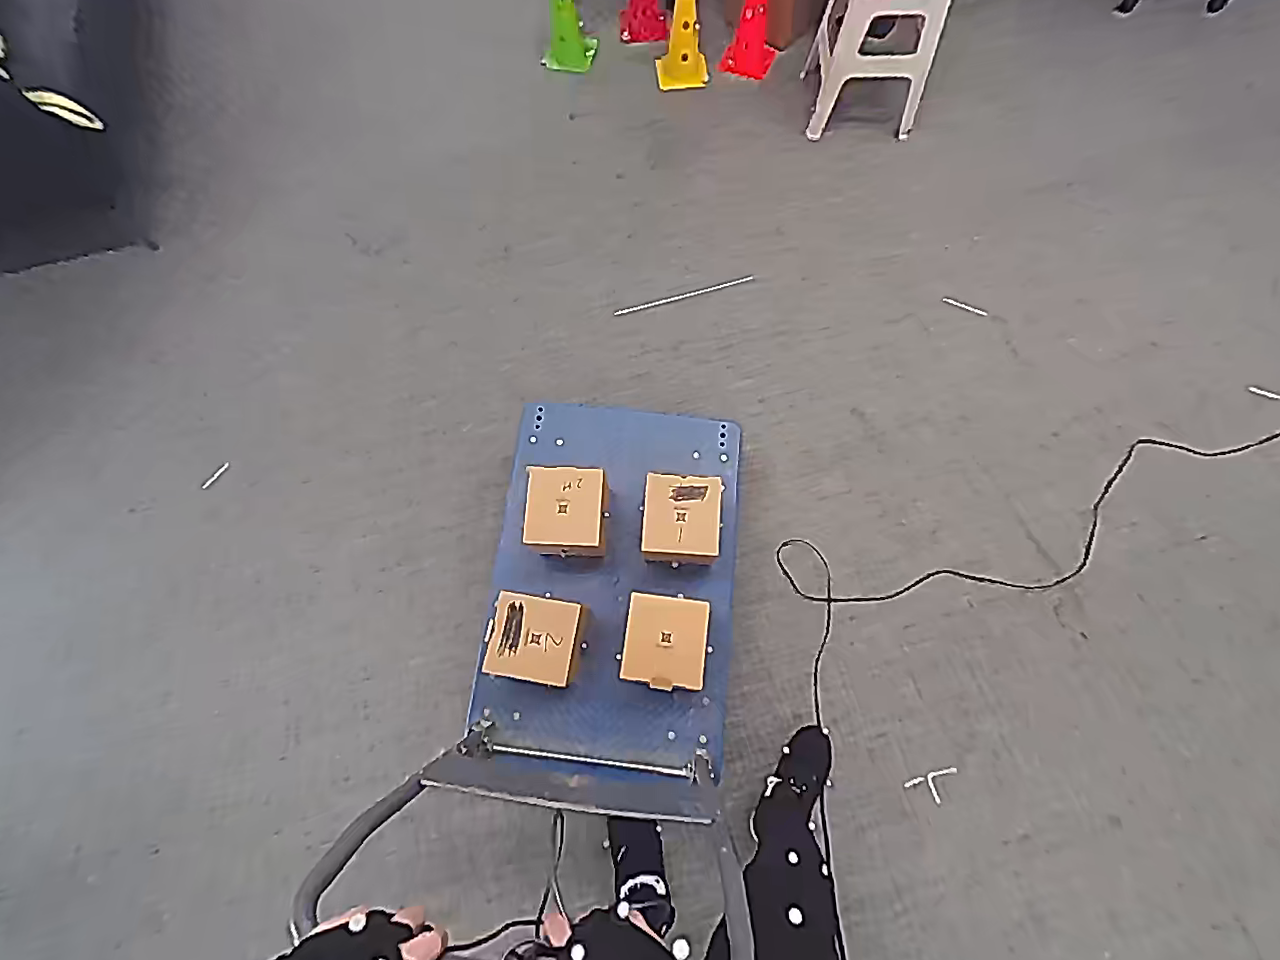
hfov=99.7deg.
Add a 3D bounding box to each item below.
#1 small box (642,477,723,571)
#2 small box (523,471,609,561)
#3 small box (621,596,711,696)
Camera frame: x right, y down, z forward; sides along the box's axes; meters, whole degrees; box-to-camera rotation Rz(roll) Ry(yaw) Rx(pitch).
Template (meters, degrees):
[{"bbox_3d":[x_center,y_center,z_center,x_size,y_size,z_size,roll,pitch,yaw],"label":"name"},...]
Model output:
[{"bbox_3d":[0.094,0.105,1.237,0.168,0.176,0.179,4,75,4],"label":"small box"},{"bbox_3d":[-0.162,0.089,1.251,0.168,0.176,0.179,2,74,2],"label":"small box"},{"bbox_3d":[0.055,0.355,1.166,0.168,0.176,0.179,7,75,4],"label":"small box"}]
